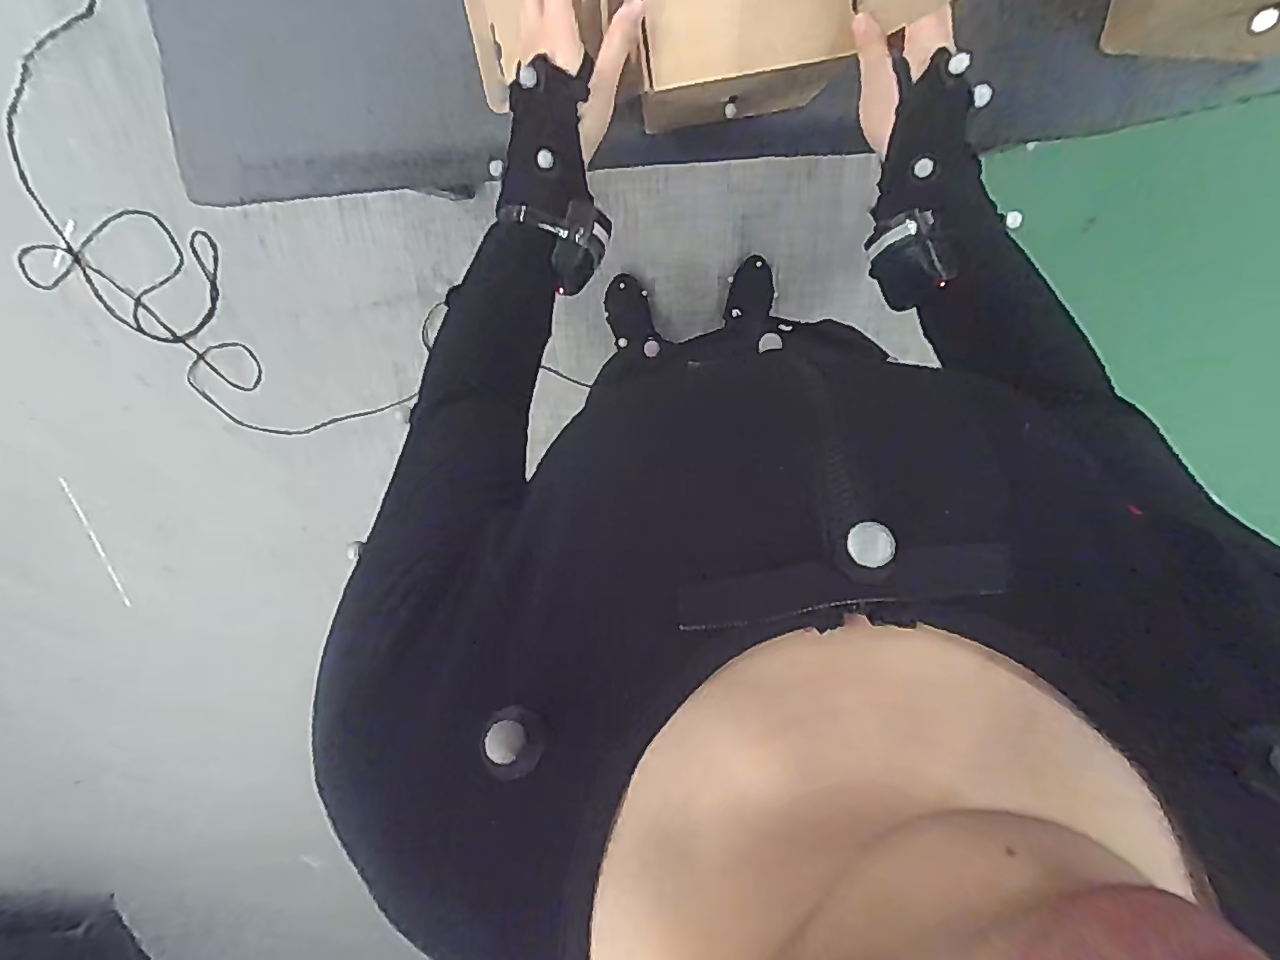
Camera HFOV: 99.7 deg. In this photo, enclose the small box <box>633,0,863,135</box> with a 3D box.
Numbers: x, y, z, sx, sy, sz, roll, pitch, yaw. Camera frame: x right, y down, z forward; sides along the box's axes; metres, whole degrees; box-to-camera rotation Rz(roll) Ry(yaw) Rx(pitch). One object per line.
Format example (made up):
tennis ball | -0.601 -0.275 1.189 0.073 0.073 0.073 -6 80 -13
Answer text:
small box | 0.084 -0.431 0.484 0.179 0.176 0.168 -7 112 5
